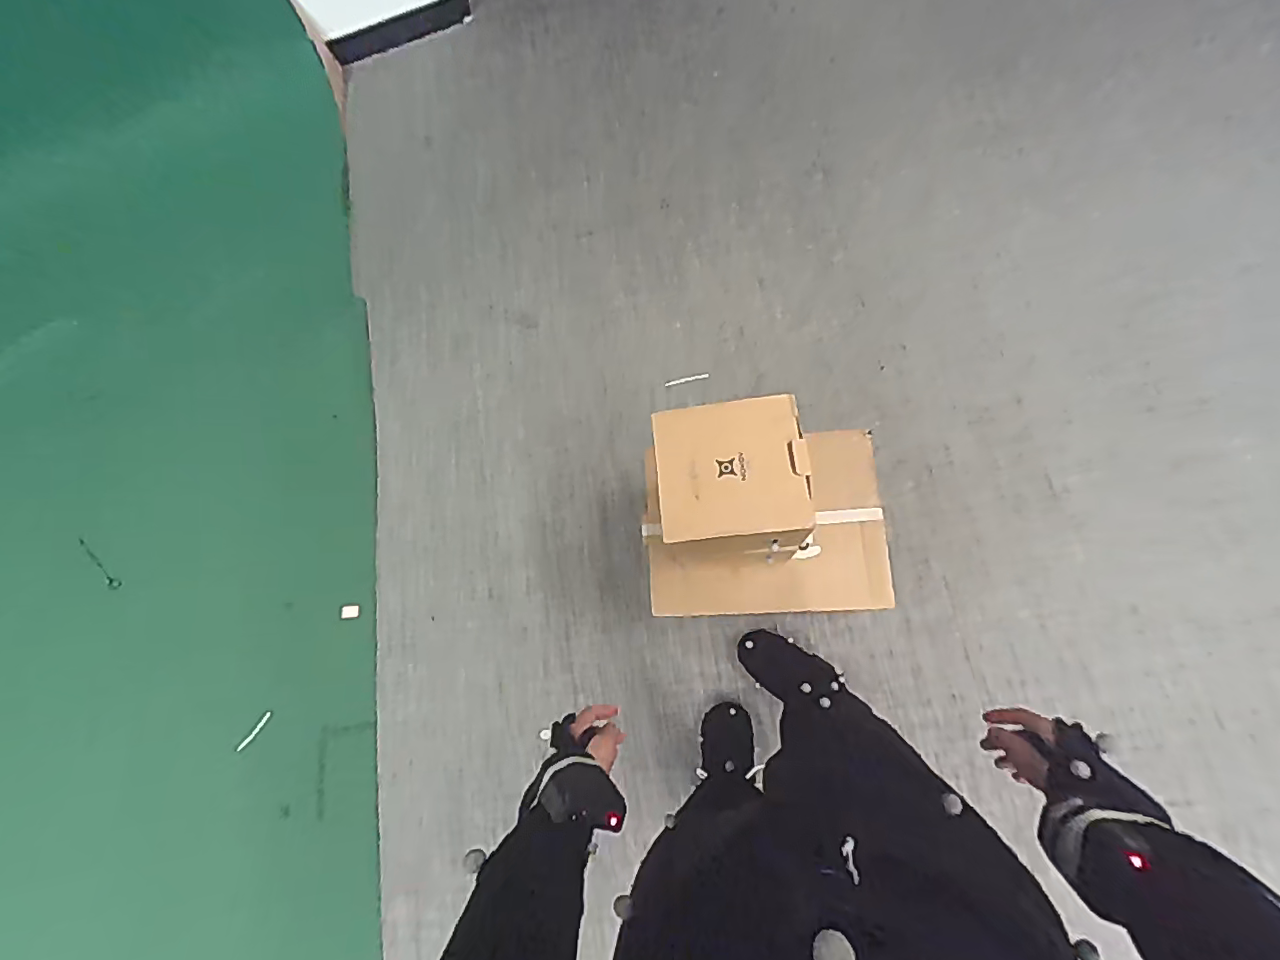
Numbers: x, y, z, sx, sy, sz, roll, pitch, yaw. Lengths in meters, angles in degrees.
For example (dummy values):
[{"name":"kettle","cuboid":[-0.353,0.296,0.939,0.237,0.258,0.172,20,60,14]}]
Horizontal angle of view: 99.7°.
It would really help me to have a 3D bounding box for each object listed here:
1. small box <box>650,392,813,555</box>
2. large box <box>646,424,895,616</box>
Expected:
[{"name":"small box","cuboid":[0.117,0.002,0.711,0.179,0.176,0.168,-8,74,10]},{"name":"large box","cuboid":[0.239,0.102,1.089,0.408,0.320,0.320,-5,77,9]}]
